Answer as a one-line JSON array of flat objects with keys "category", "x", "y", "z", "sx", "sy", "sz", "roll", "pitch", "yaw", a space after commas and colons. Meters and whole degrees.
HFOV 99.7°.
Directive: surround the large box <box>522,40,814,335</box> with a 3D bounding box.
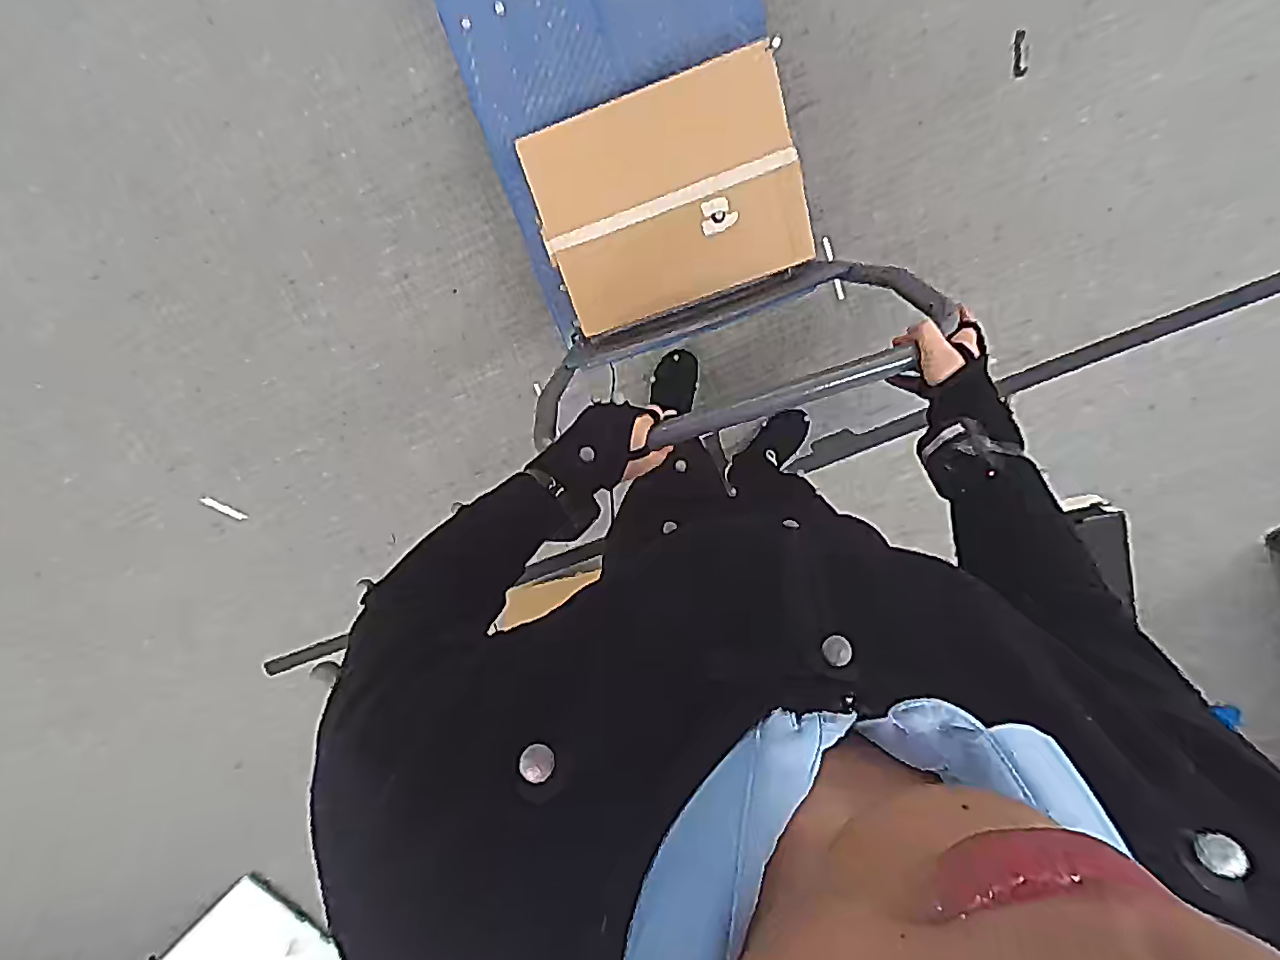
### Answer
[{"category": "large box", "x": 0.051, "y": -0.497, "z": 1.000, "sx": 0.408, "sy": 0.320, "sz": 0.320, "roll": -18, "pitch": 111, "yaw": 7}]
